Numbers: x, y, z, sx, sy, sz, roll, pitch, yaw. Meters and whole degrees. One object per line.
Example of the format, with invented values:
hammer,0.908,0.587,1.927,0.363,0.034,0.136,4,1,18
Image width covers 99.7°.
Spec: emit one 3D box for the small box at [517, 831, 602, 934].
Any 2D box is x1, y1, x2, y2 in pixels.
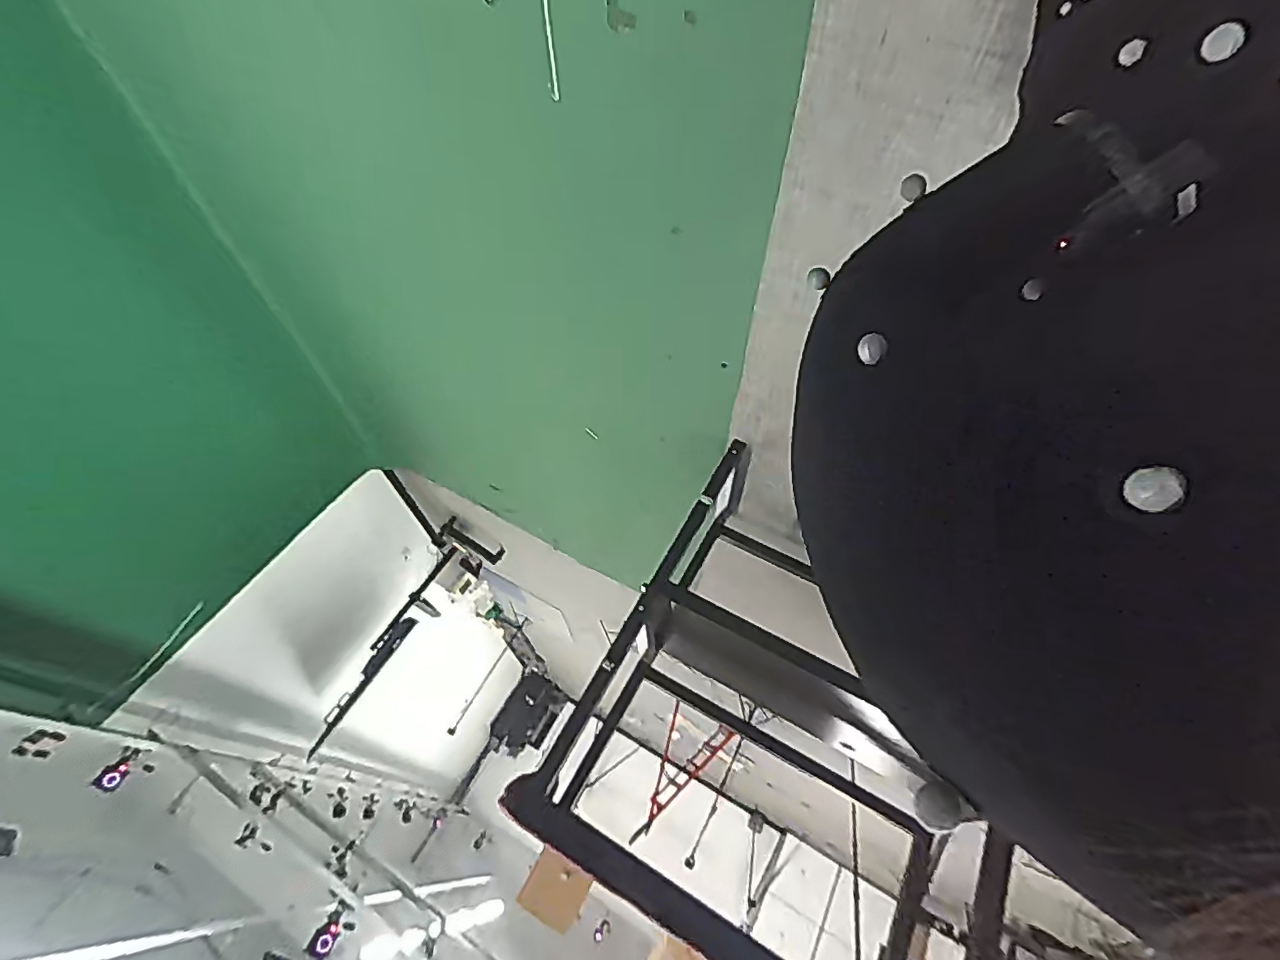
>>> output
small box,-0.217,1.109,1.507,0.168,0.176,0.179,27,150,13
